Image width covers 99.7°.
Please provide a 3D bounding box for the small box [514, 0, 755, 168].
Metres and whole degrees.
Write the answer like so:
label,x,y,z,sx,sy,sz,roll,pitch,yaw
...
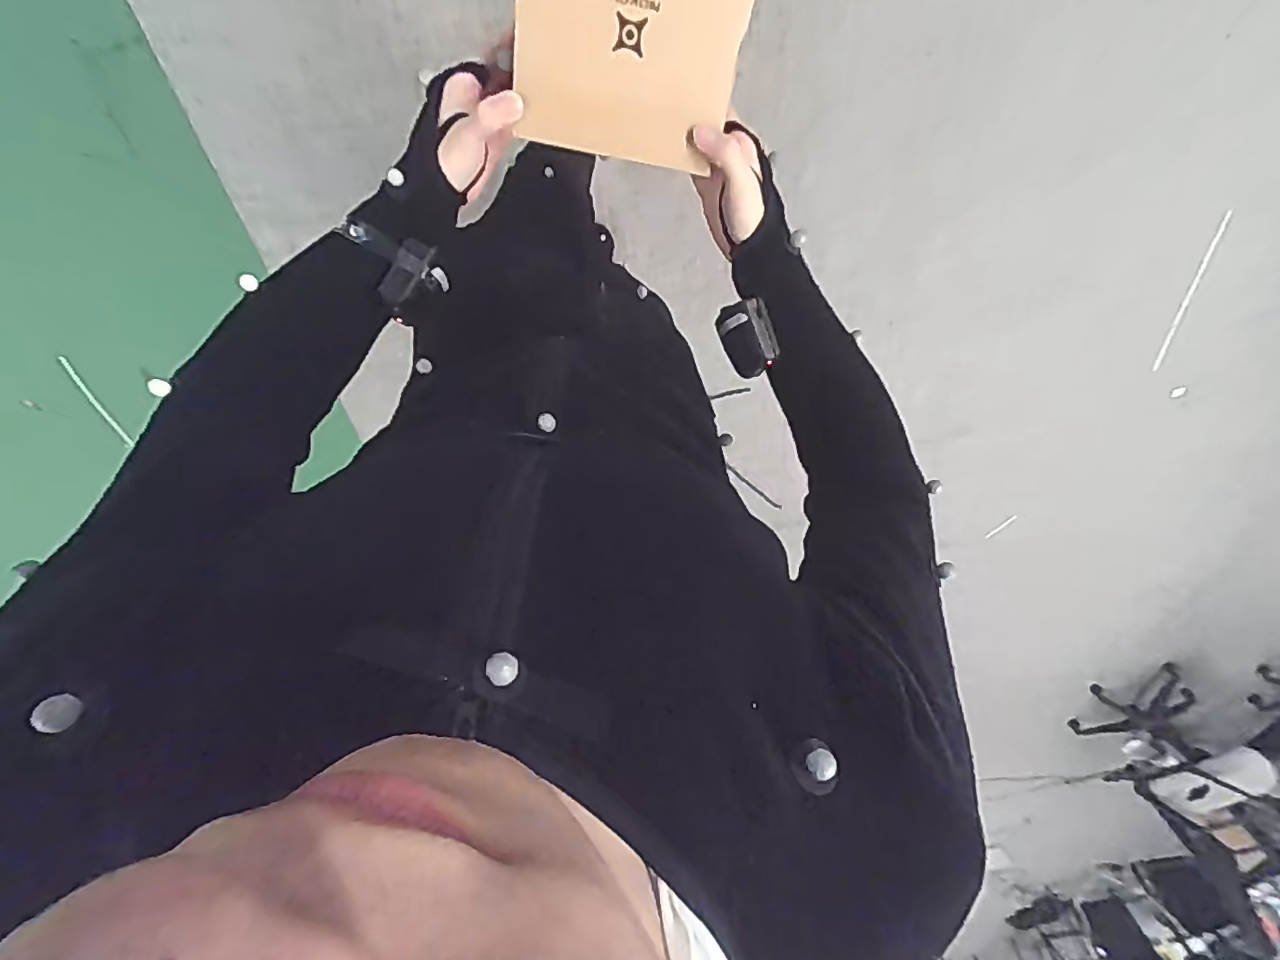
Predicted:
label,x,y,z,sx,sy,sz,roll,pitch,yaw
small box,-0.006,-0.384,0.444,0.168,0.176,0.179,6,128,-10
